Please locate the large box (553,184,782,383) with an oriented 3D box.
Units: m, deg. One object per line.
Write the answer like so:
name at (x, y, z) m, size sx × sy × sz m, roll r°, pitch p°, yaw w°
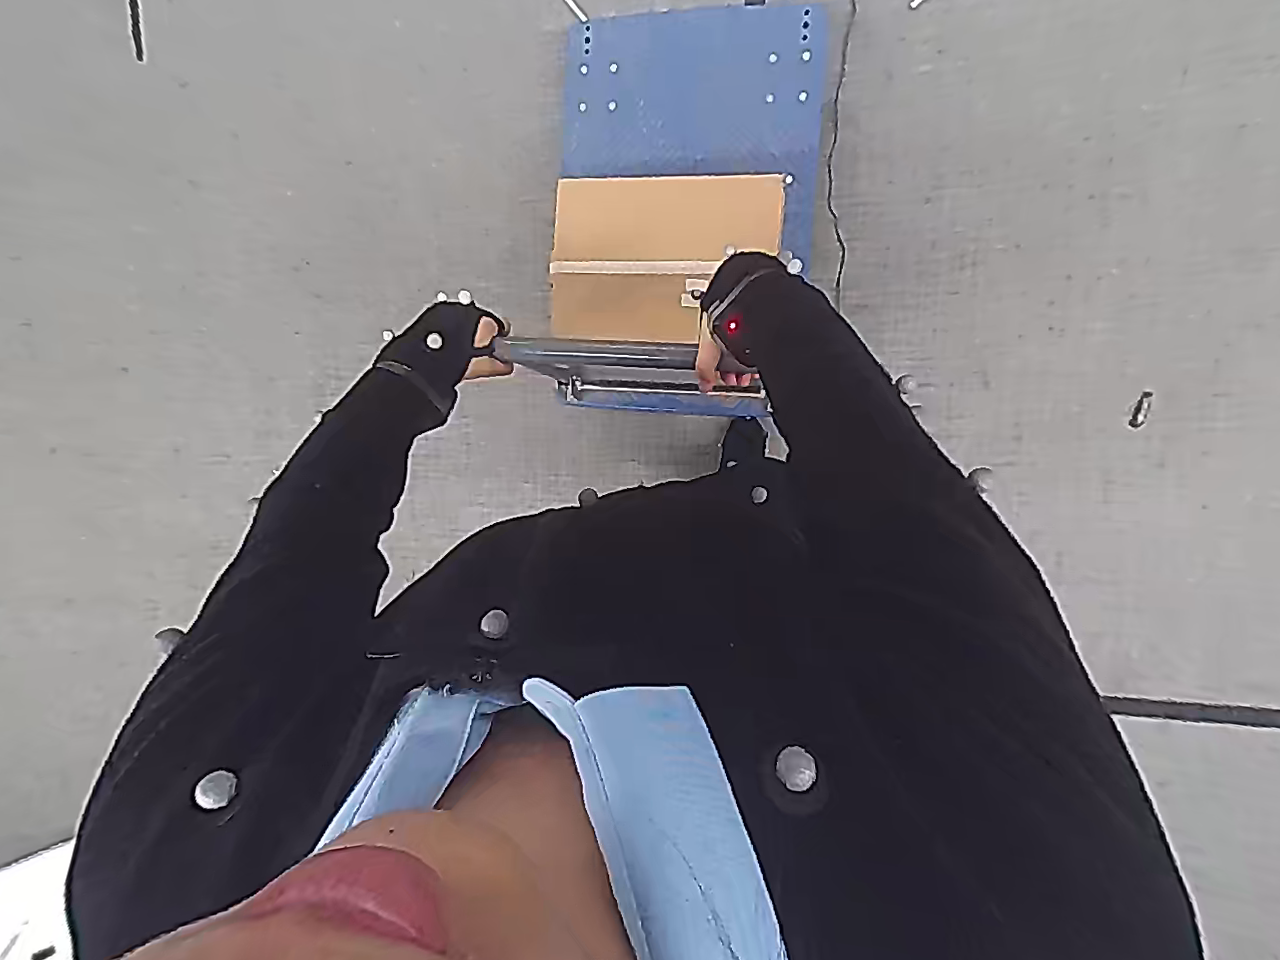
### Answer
large box at (0.061, -0.371, 1.104) m, size 0.408 × 0.320 × 0.320 m, roll 4°, pitch 96°, yaw 9°
